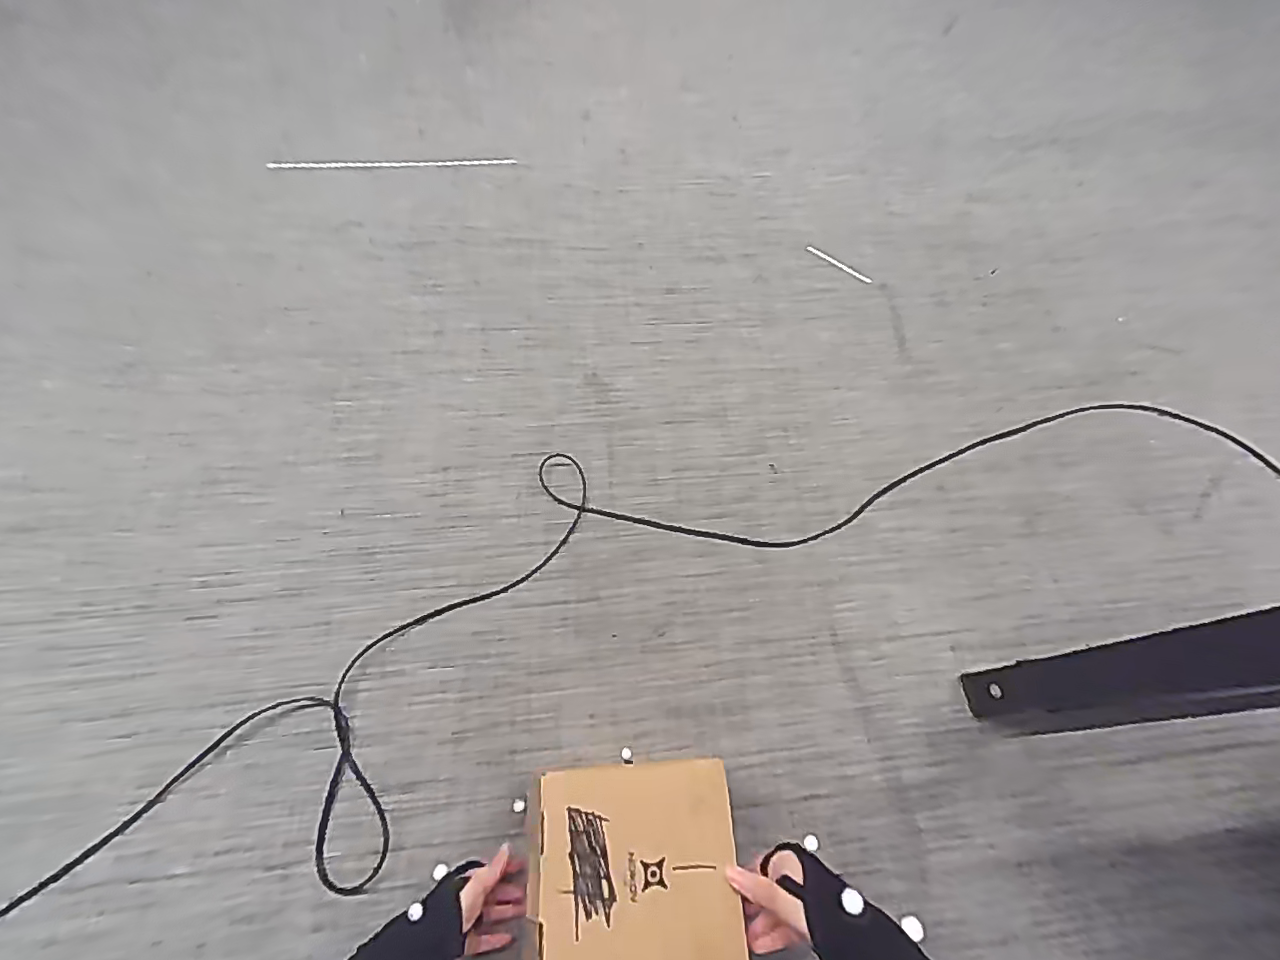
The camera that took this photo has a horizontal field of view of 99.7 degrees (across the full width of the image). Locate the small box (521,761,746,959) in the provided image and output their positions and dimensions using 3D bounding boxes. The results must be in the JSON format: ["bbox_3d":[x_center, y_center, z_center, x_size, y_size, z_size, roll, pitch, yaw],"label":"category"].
[{"bbox_3d":[-0.020,0.375,0.530,0.179,0.176,0.168,4,62,-17],"label":"small box"}]
